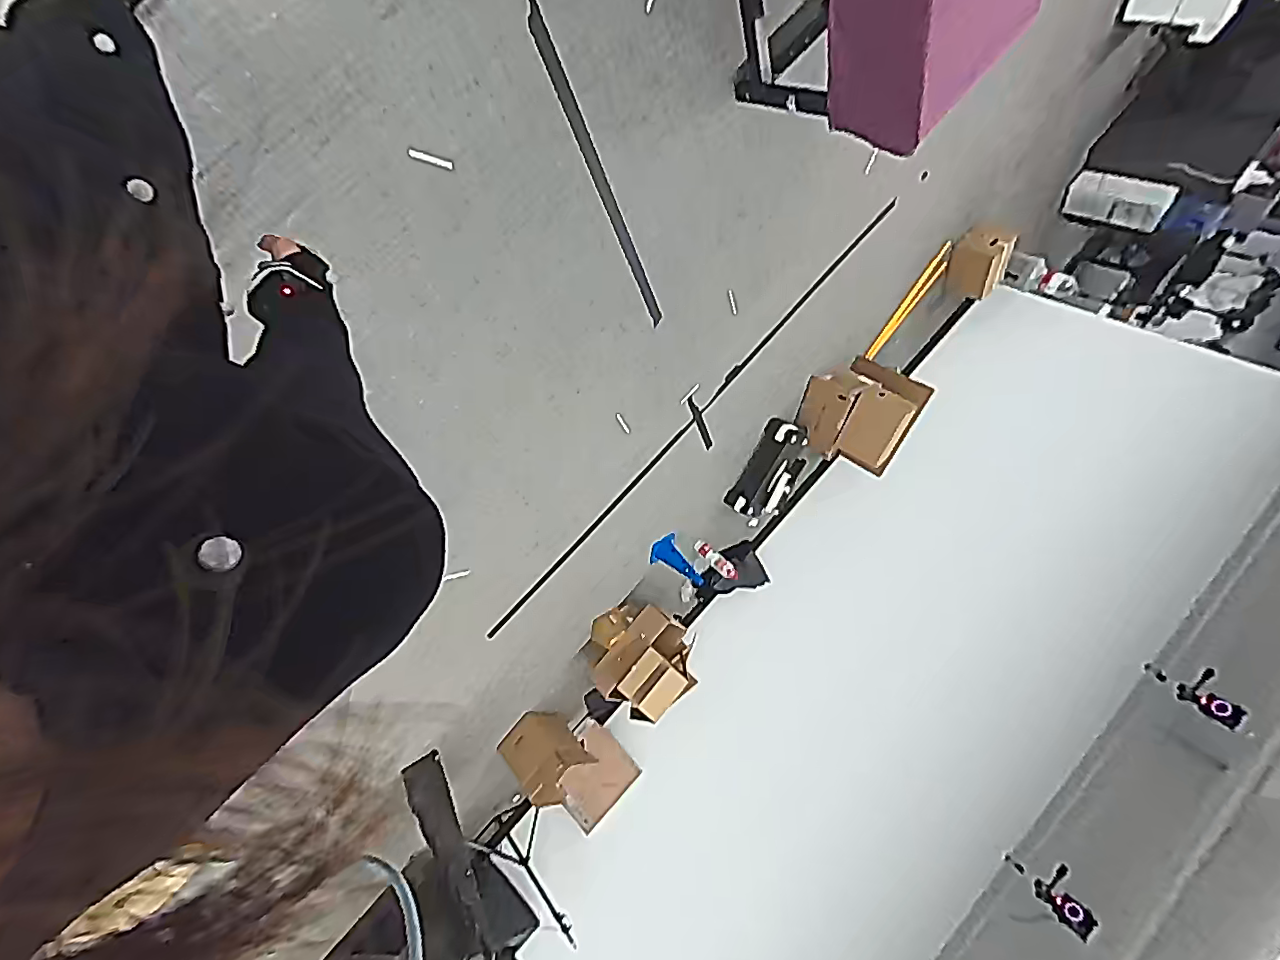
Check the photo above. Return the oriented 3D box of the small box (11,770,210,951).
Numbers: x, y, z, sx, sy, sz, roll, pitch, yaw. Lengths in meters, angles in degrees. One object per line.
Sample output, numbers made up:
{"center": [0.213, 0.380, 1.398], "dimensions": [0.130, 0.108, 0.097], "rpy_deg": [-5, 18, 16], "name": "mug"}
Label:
{"center": [-0.890, 0.630, 0.917], "dimensions": [0.179, 0.176, 0.168], "rpy_deg": [-44, 148, -10], "name": "small box"}
